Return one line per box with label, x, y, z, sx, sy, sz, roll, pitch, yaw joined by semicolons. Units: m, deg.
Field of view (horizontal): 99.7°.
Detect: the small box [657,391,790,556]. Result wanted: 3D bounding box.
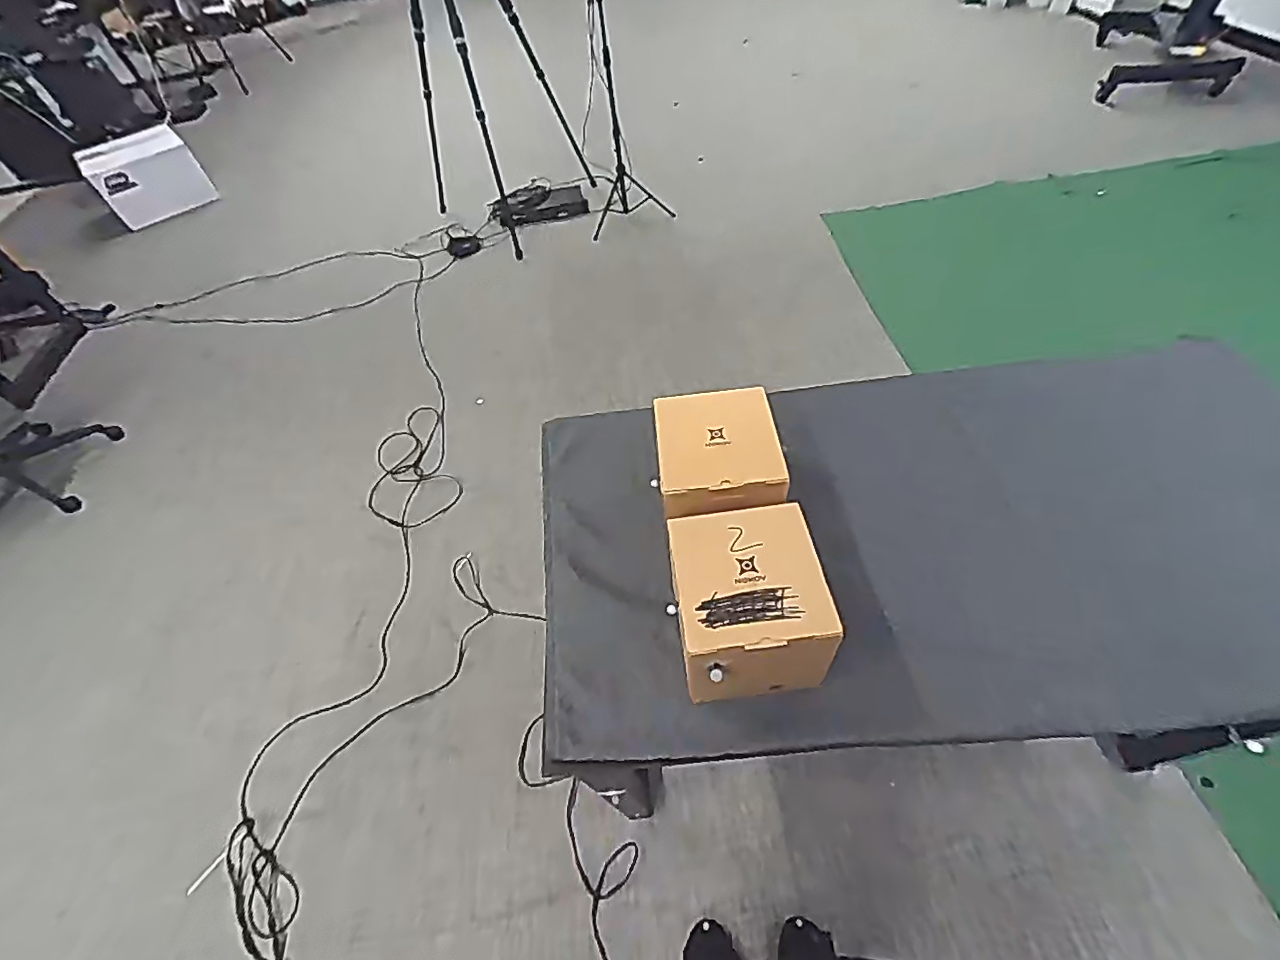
small box;0.116;-0.007;0.810;0.168;0.176;0.179;-6;53;2
